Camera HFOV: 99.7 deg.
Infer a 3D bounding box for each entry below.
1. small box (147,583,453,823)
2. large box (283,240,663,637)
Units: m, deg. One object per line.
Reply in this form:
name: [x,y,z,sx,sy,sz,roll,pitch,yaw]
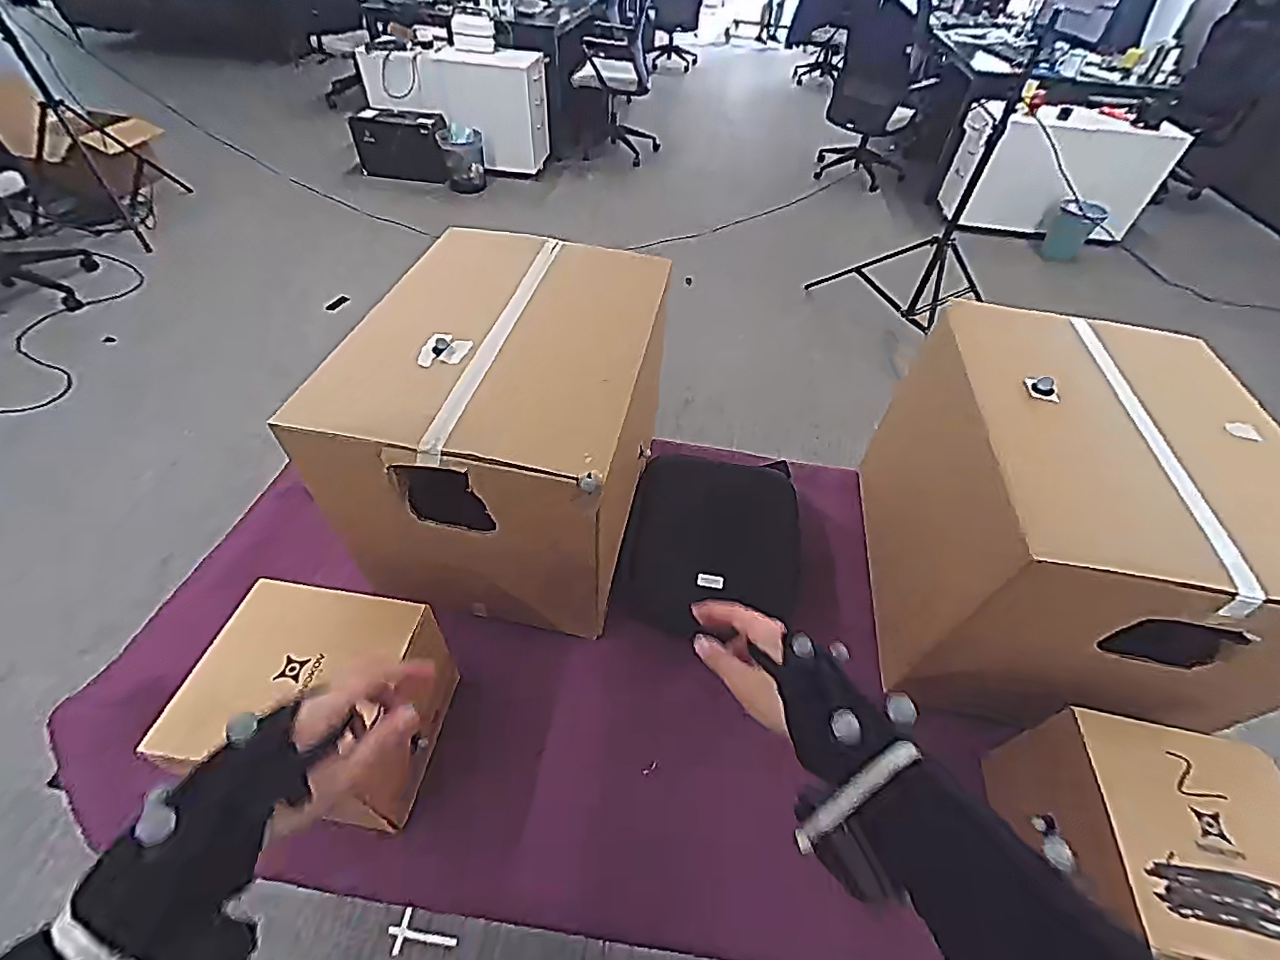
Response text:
small box: [-0.313,0.228,0.548,0.179,0.176,0.168,8,47,2]
large box: [-0.158,-0.061,0.724,0.320,0.320,0.408,9,51,5]
